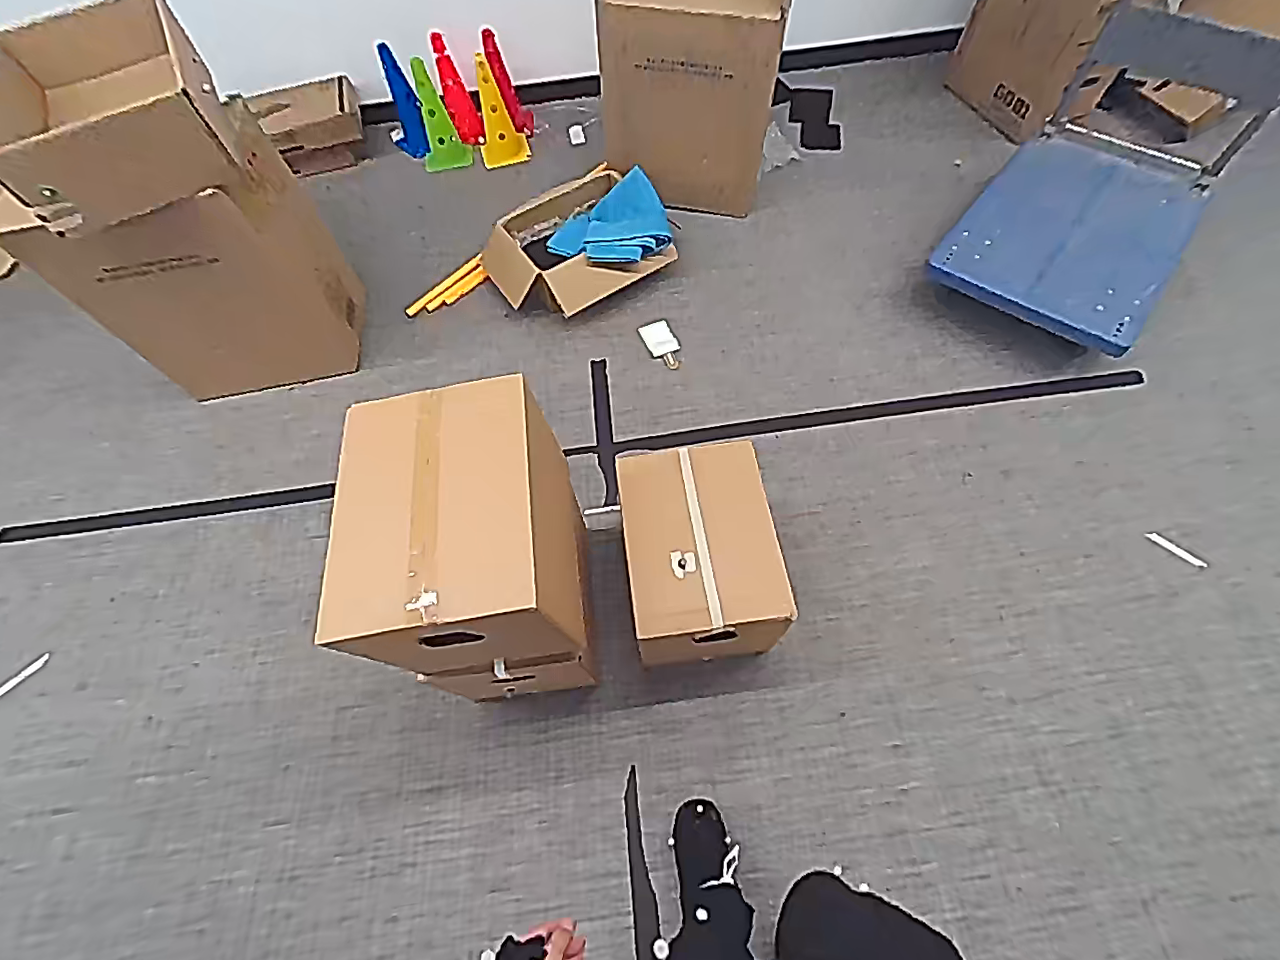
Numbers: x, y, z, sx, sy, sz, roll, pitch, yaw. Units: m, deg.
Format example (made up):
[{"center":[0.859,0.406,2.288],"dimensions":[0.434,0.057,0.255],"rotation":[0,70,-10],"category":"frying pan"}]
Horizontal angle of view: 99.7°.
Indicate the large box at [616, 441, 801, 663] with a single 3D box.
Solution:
[{"center":[0.134,0.174,1.247],"dimensions":[0.320,0.320,0.408],"rotation":[-9,62,-1],"category":"large box"}]
